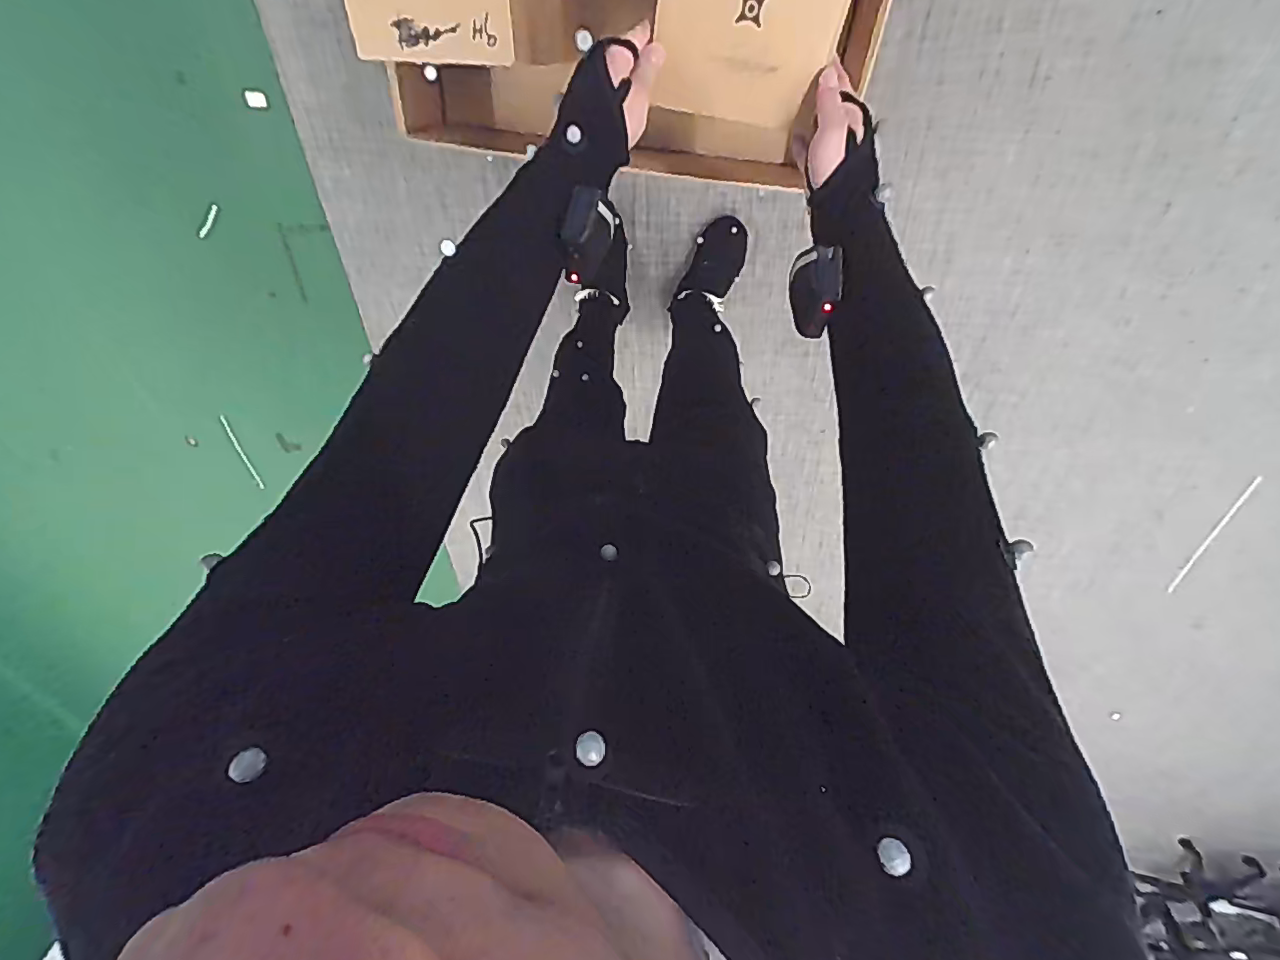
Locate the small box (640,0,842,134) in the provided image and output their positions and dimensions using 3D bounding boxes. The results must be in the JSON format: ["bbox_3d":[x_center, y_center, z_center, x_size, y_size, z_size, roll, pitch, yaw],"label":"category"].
[{"bbox_3d":[0.102,-0.470,0.529,0.168,0.176,0.179,12,133,0],"label":"small box"}]

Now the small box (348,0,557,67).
[{"bbox_3d":[-0.189,-0.538,0.555,0.168,0.176,0.179,7,129,7],"label":"small box"}]
